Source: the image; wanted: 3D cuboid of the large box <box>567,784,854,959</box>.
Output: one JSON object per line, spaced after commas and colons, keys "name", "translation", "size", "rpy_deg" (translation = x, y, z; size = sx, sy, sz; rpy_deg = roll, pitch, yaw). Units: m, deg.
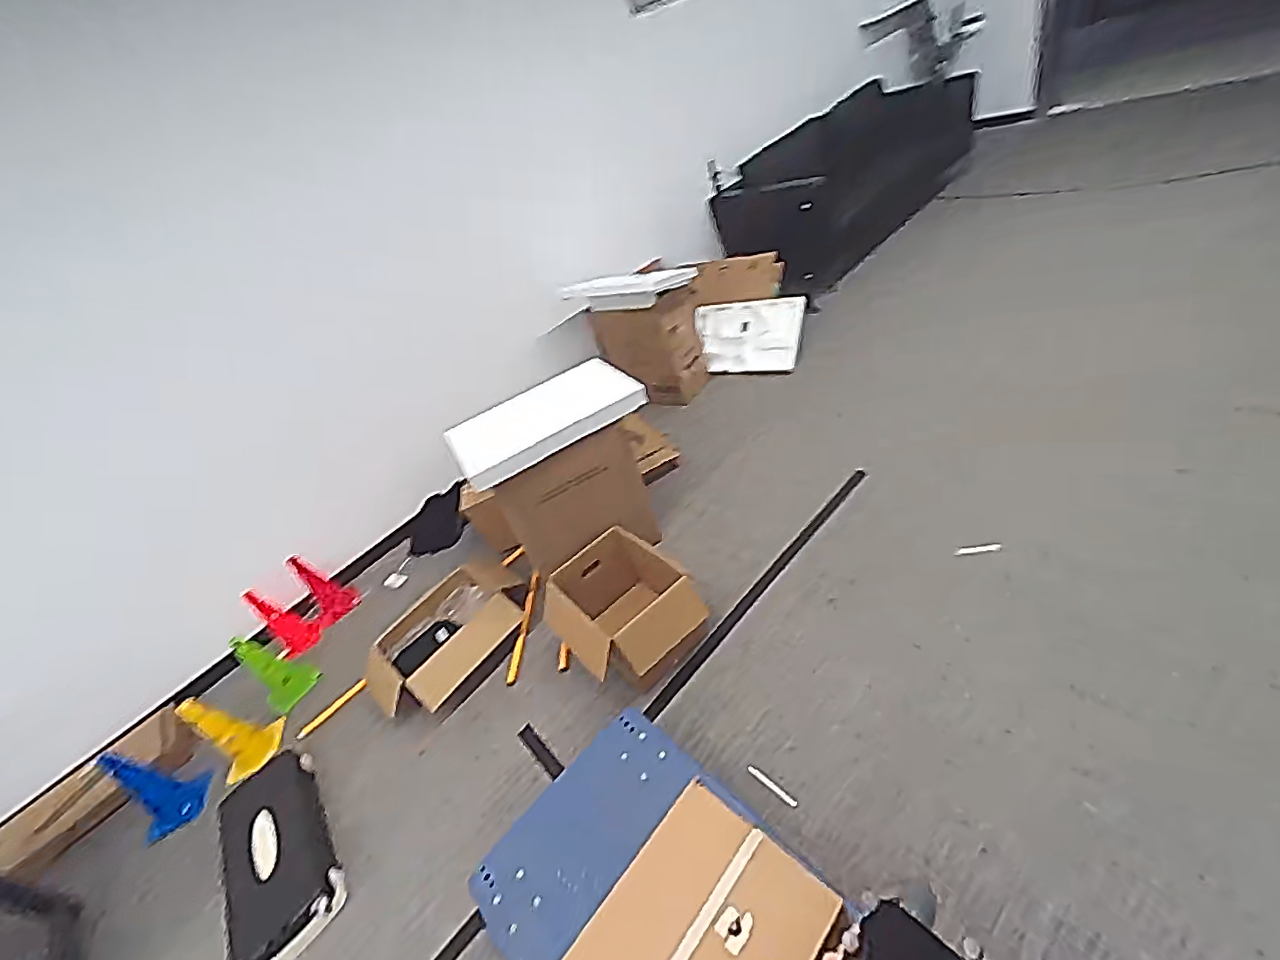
{"name": "large box", "translation": [0.124, 0.856, 0.938], "size": [0.320, 0.320, 0.408], "rpy_deg": [19, 51, 44]}
